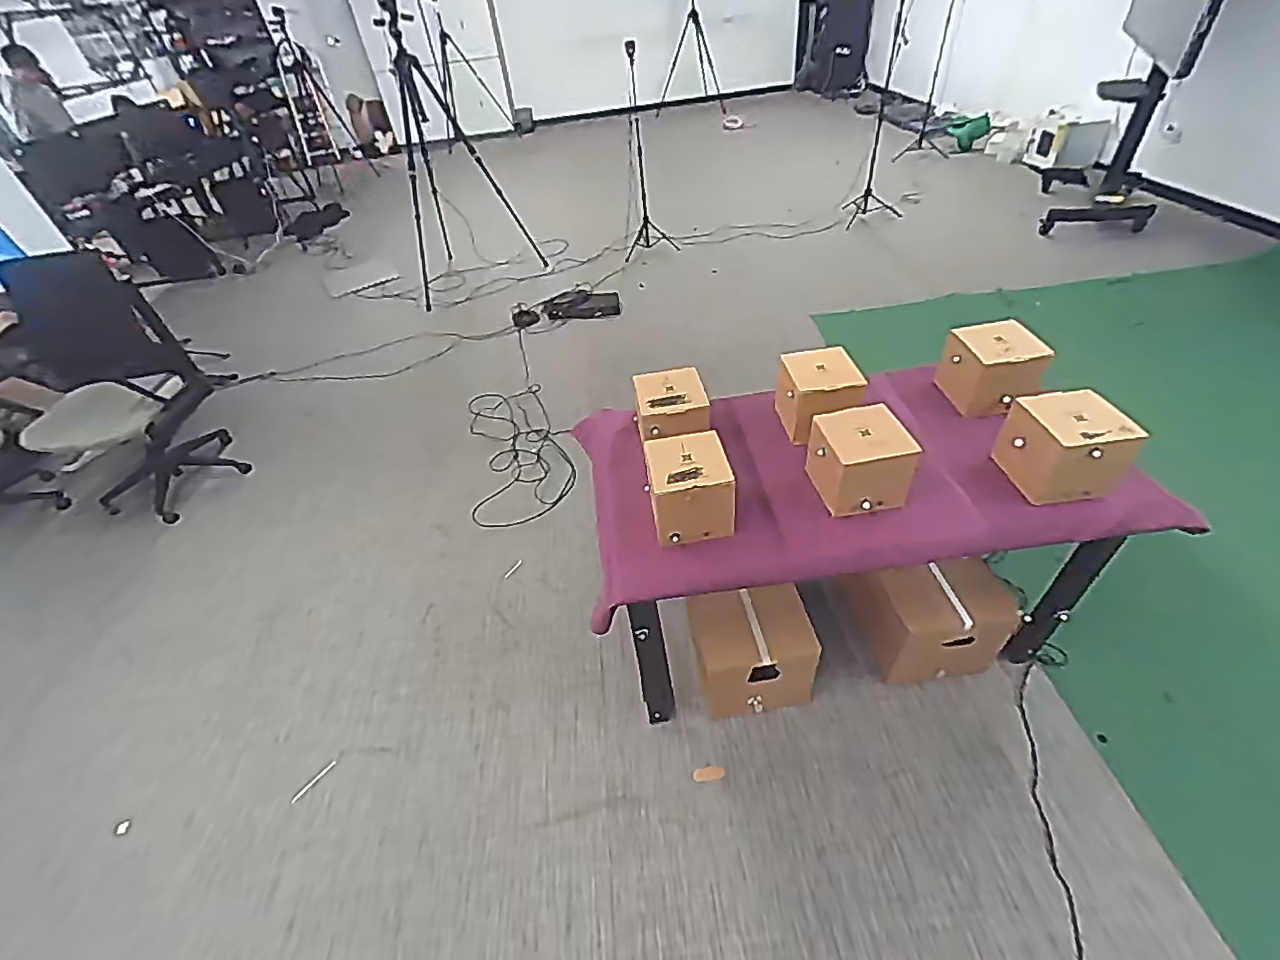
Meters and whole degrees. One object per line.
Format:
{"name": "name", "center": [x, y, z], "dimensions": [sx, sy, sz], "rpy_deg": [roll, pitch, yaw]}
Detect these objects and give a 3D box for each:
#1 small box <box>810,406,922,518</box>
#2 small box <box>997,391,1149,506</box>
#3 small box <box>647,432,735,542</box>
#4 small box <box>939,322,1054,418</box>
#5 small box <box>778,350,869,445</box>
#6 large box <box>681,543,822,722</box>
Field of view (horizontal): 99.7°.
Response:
{"name": "small box", "center": [0.492, -0.040, 1.209], "dimensions": [0.168, 0.176, 0.179], "rpy_deg": [-10, 42, 0]}
{"name": "small box", "center": [0.915, -0.068, 1.168], "dimensions": [0.168, 0.176, 0.179], "rpy_deg": [-8, 40, 3]}
{"name": "small box", "center": [0.113, 0.021, 1.200], "dimensions": [0.168, 0.176, 0.179], "rpy_deg": [-9, 41, -2]}
{"name": "small box", "center": [0.906, -0.283, 1.398], "dimensions": [0.168, 0.176, 0.179], "rpy_deg": [-9, 44, 3]}
{"name": "small box", "center": [0.464, -0.214, 1.401], "dimensions": [0.168, 0.176, 0.179], "rpy_deg": [-8, 44, 0]}
{"name": "large box", "center": [0.325, 0.464, 1.669], "dimensions": [0.320, 0.320, 0.408], "rpy_deg": [-9, 42, -2]}
